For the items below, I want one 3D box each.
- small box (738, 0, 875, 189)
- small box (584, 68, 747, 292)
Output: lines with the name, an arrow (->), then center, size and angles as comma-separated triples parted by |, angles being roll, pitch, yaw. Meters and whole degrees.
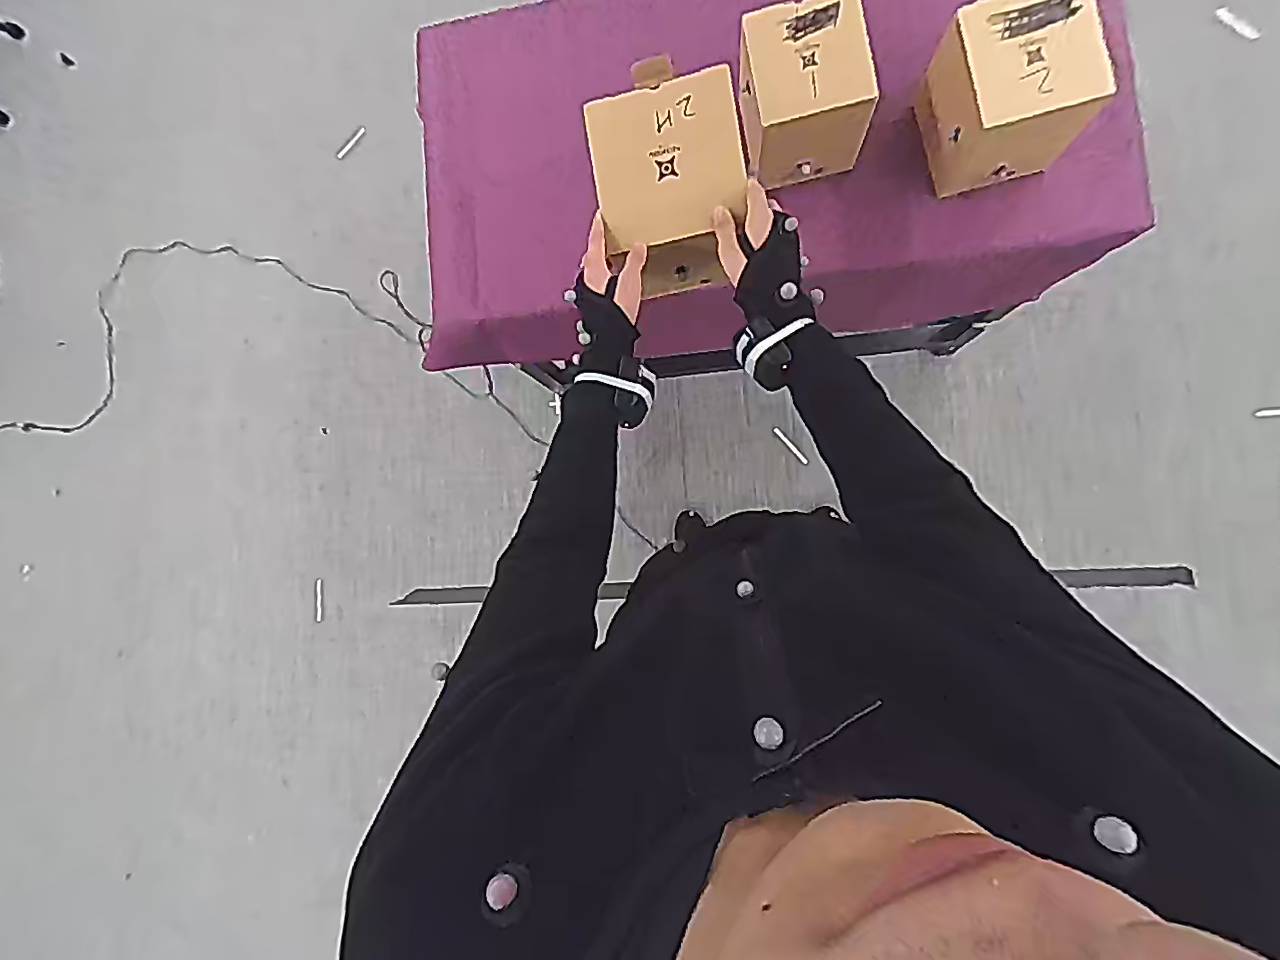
small box -> 0.251, -0.607, 0.858 | 0.168, 0.176, 0.179 | -10, 86, 9
small box -> 0.041, -0.352, 0.678 | 0.168, 0.176, 0.179 | -9, 89, 9
